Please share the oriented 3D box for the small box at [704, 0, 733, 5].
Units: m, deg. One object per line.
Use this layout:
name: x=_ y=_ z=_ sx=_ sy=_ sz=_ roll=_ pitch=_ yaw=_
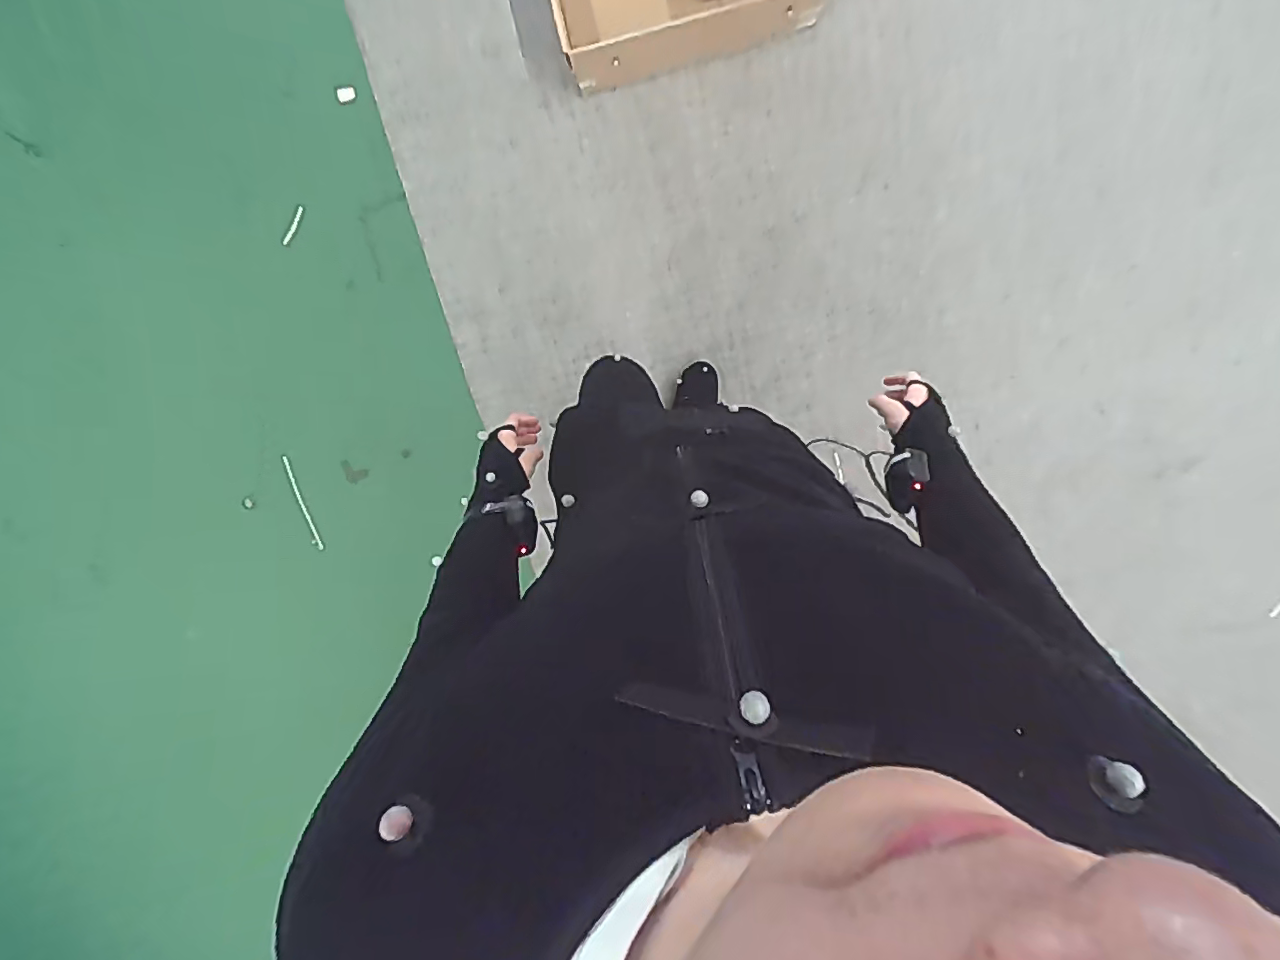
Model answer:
small box: x=0.211 y=-1.200 z=1.193 sx=0.168 sy=0.176 sz=0.179 roll=-11 pitch=103 yaw=6
